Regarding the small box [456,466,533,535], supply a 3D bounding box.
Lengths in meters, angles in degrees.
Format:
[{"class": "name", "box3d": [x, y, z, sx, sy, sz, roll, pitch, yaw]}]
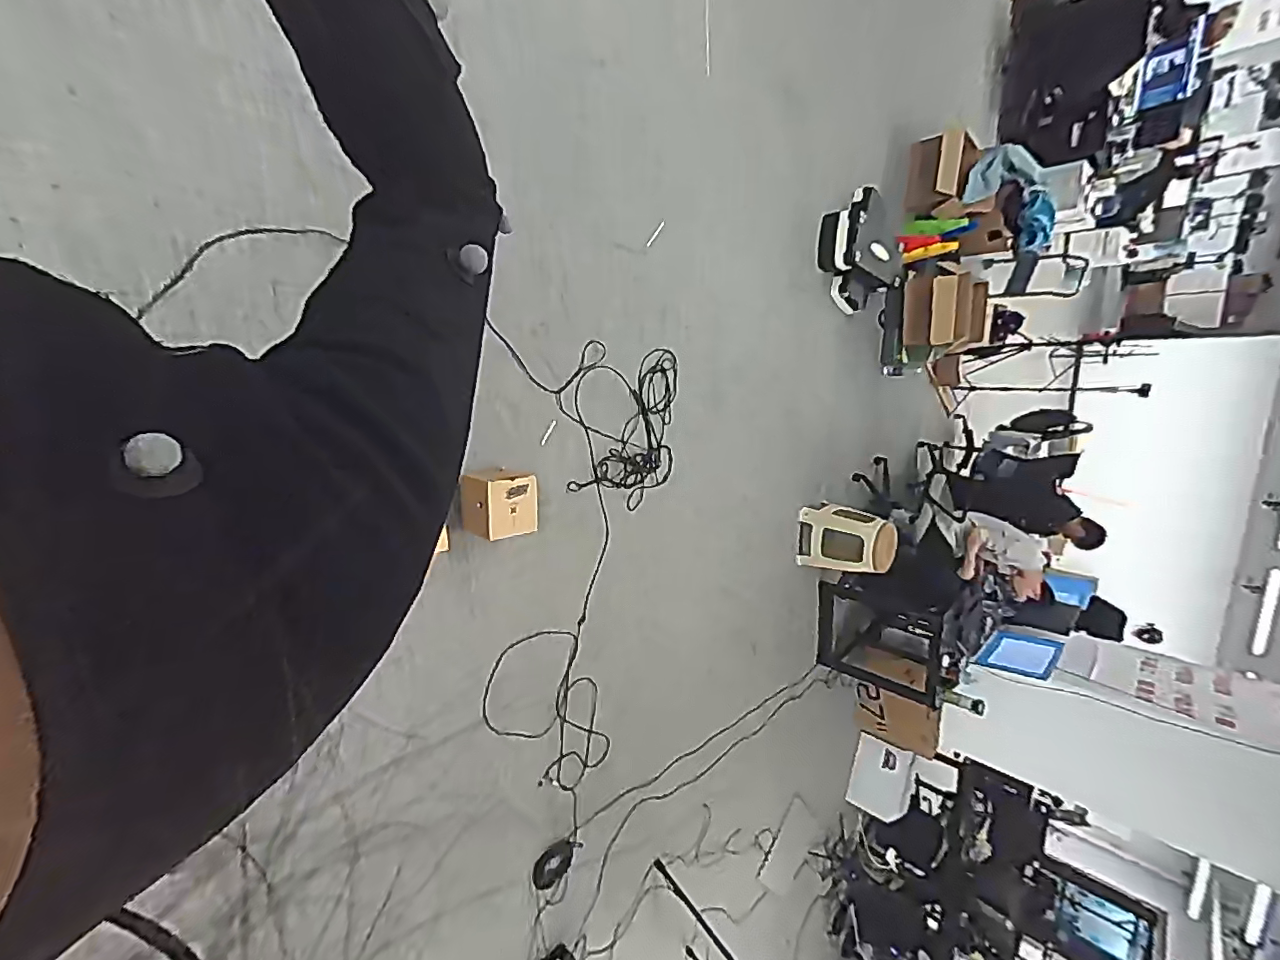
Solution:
[{"class": "small box", "box3d": [-0.440, 0.053, 1.630, 0.168, 0.176, 0.179, -10, 106, -45]}]
